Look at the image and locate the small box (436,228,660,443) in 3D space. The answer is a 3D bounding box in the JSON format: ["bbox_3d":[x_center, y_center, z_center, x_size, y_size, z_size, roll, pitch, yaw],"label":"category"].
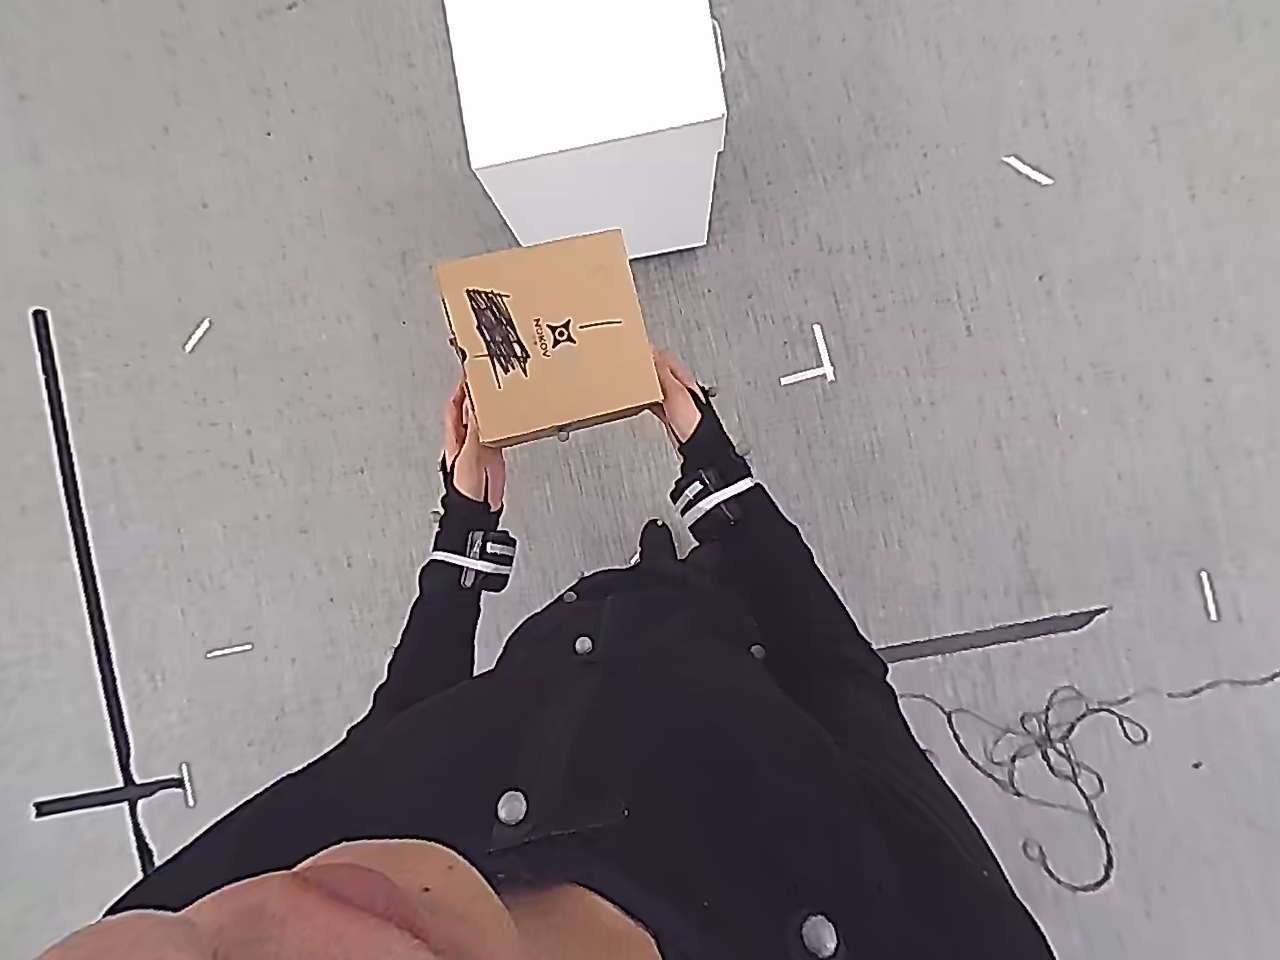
[{"bbox_3d":[-0.093,-0.139,0.578,0.179,0.176,0.168,-15,94,-9],"label":"small box"}]
